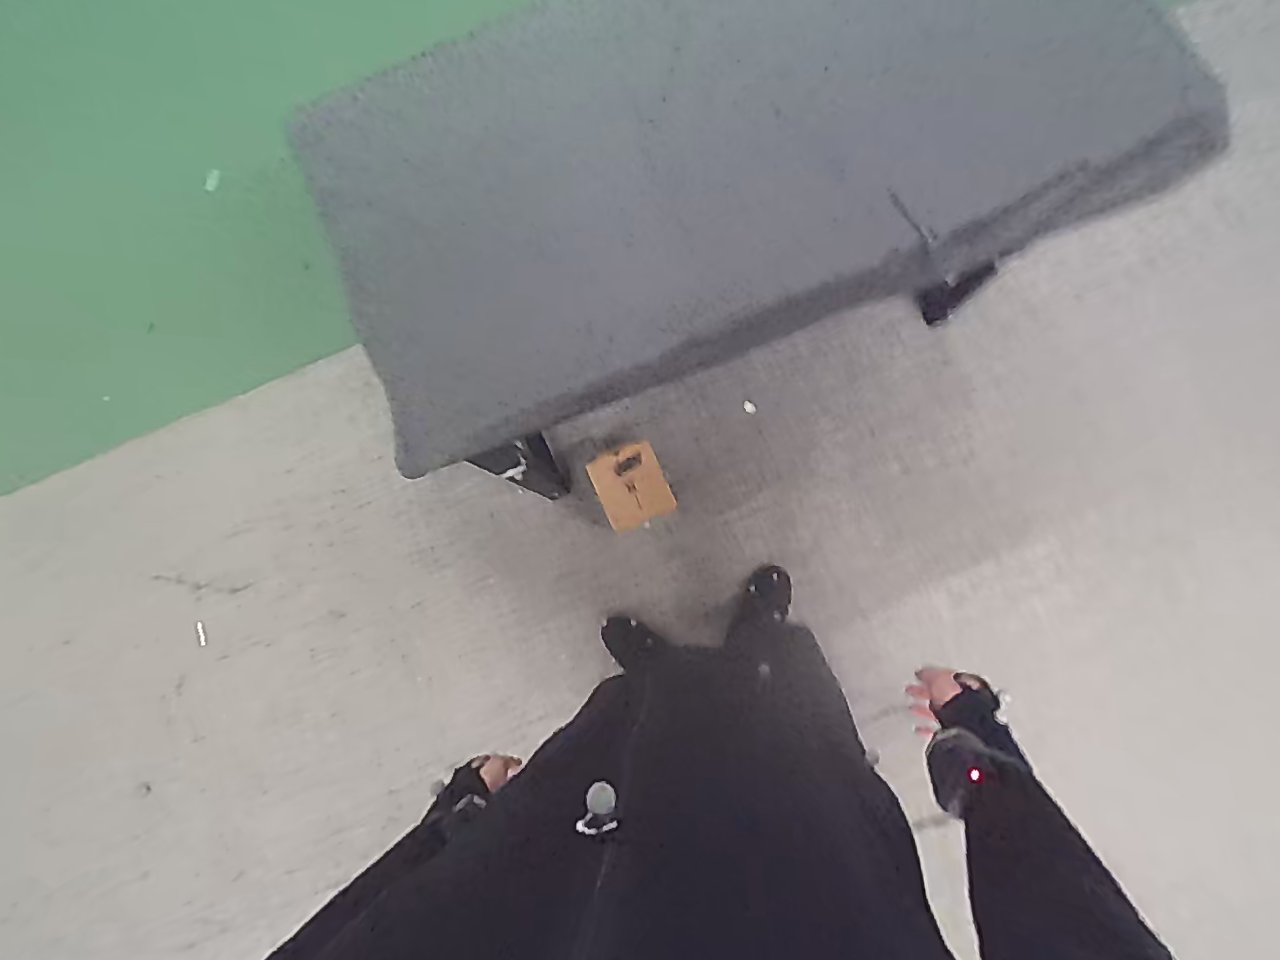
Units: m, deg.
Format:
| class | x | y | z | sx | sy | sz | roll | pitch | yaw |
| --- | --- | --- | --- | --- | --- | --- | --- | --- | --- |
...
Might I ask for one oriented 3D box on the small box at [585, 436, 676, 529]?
| class | x | y | z | sx | sy | sz | roll | pitch | yaw |
| --- | --- | --- | --- | --- | --- | --- | --- | --- | --- |
| small box | -0.022 | 0.013 | 1.357 | 0.168 | 0.176 | 0.179 | -25 | 83 | 0 |
